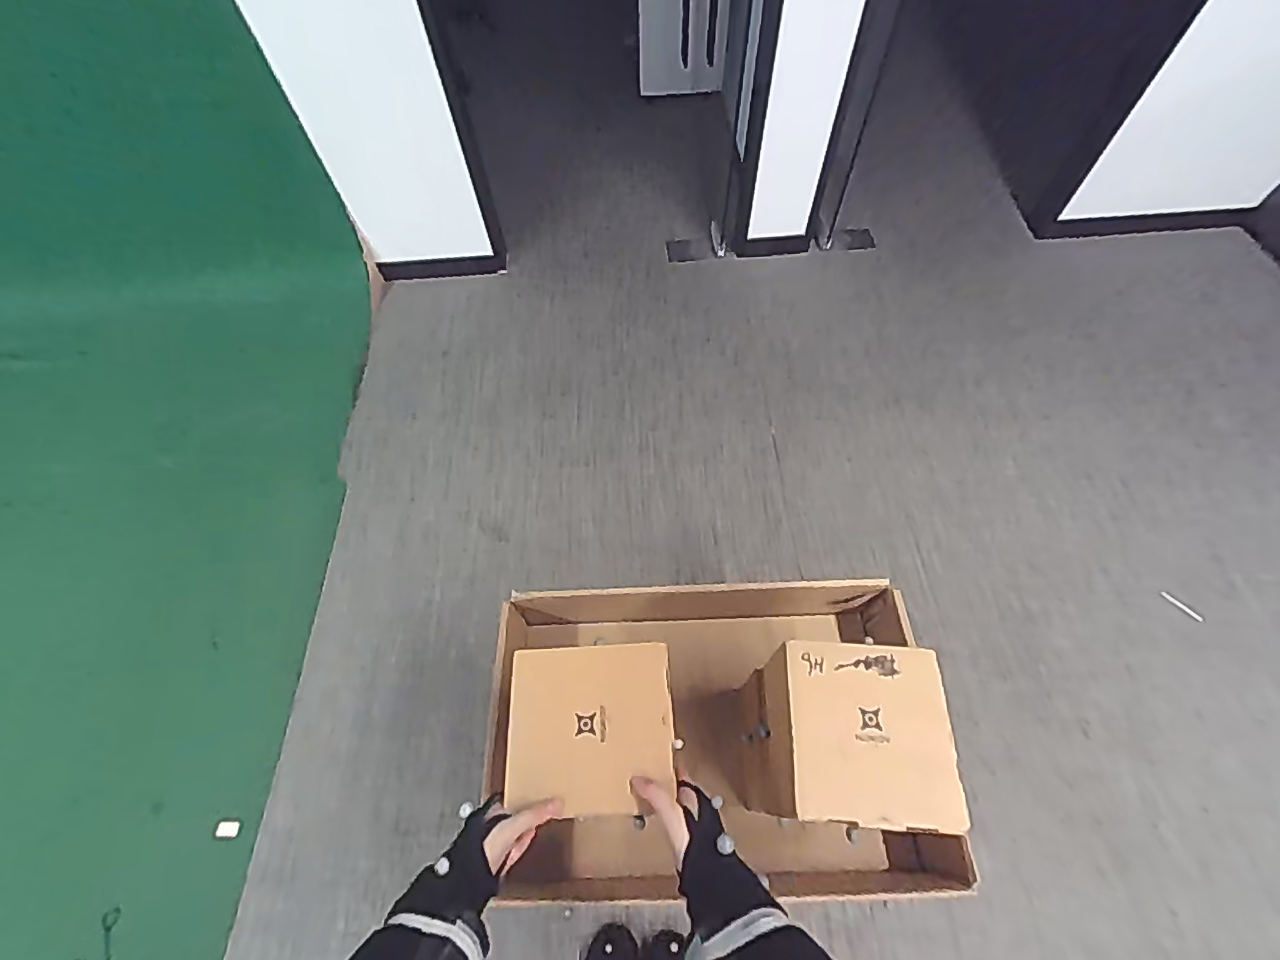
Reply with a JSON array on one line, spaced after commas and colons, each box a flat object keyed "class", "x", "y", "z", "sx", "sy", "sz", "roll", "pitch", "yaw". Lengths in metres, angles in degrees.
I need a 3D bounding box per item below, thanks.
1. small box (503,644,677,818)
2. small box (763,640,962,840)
[{"class": "small box", "x": -0.048, "y": 0.303, "z": 0.642, "sx": 0.179, "sy": 0.176, "sz": 0.168, "roll": -4, "pitch": 59, "yaw": 1}, {"class": "small box", "x": 0.239, "y": 0.298, "z": 0.628, "sx": 0.168, "sy": 0.176, "sz": 0.179, "roll": 3, "pitch": 61, "yaw": 5}]
